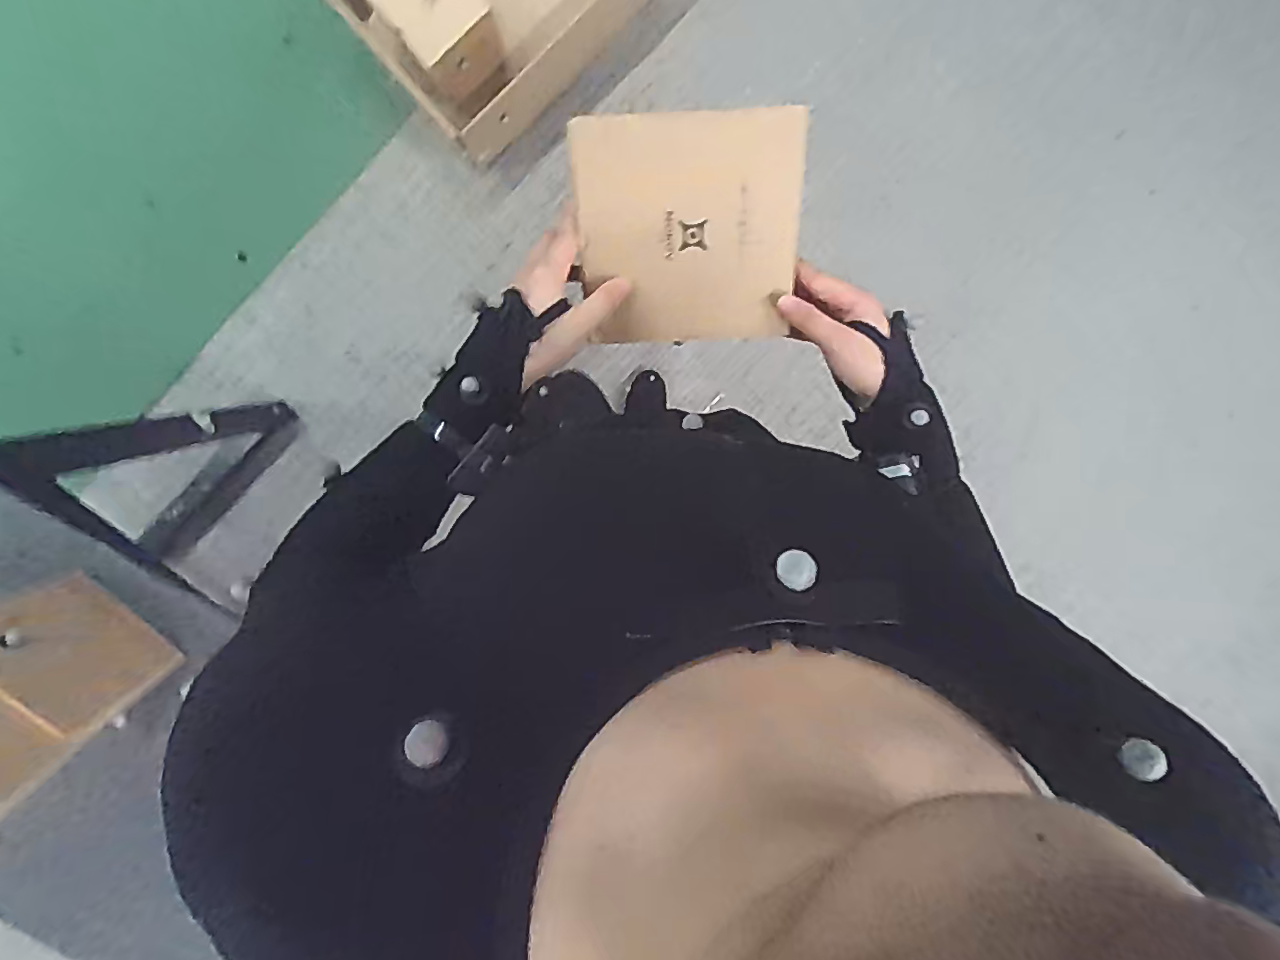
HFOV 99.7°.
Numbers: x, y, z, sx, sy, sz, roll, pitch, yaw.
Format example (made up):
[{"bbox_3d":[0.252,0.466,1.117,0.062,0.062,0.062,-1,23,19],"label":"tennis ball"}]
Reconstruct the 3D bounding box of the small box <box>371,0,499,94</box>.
[{"bbox_3d":[-0.412,-0.944,1.100,0.179,0.176,0.168,-41,104,5],"label":"small box"}]

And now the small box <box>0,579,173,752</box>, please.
[{"bbox_3d":[-0.733,0.240,0.641,0.168,0.176,0.179,-38,104,6],"label":"small box"}]

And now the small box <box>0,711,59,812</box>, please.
[{"bbox_3d":[-0.722,0.298,0.487,0.168,0.176,0.179,-40,105,6],"label":"small box"}]
